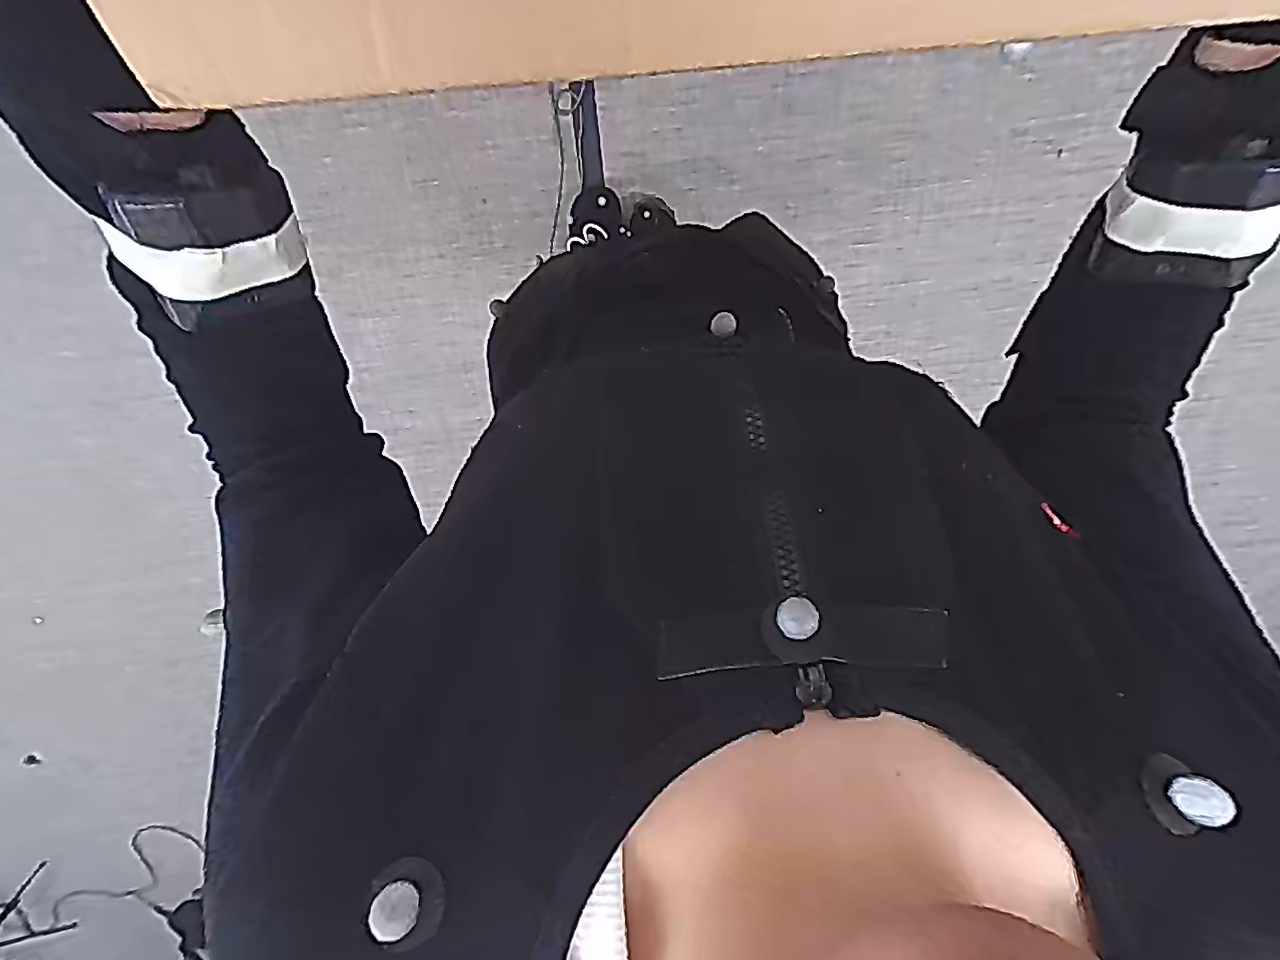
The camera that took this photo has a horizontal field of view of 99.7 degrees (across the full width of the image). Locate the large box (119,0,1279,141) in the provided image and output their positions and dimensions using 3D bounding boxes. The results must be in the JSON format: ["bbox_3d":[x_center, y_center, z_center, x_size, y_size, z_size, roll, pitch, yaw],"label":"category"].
[{"bbox_3d":[0.017,-0.355,0.187,0.408,0.320,0.320,-5,136,0],"label":"large box"}]
